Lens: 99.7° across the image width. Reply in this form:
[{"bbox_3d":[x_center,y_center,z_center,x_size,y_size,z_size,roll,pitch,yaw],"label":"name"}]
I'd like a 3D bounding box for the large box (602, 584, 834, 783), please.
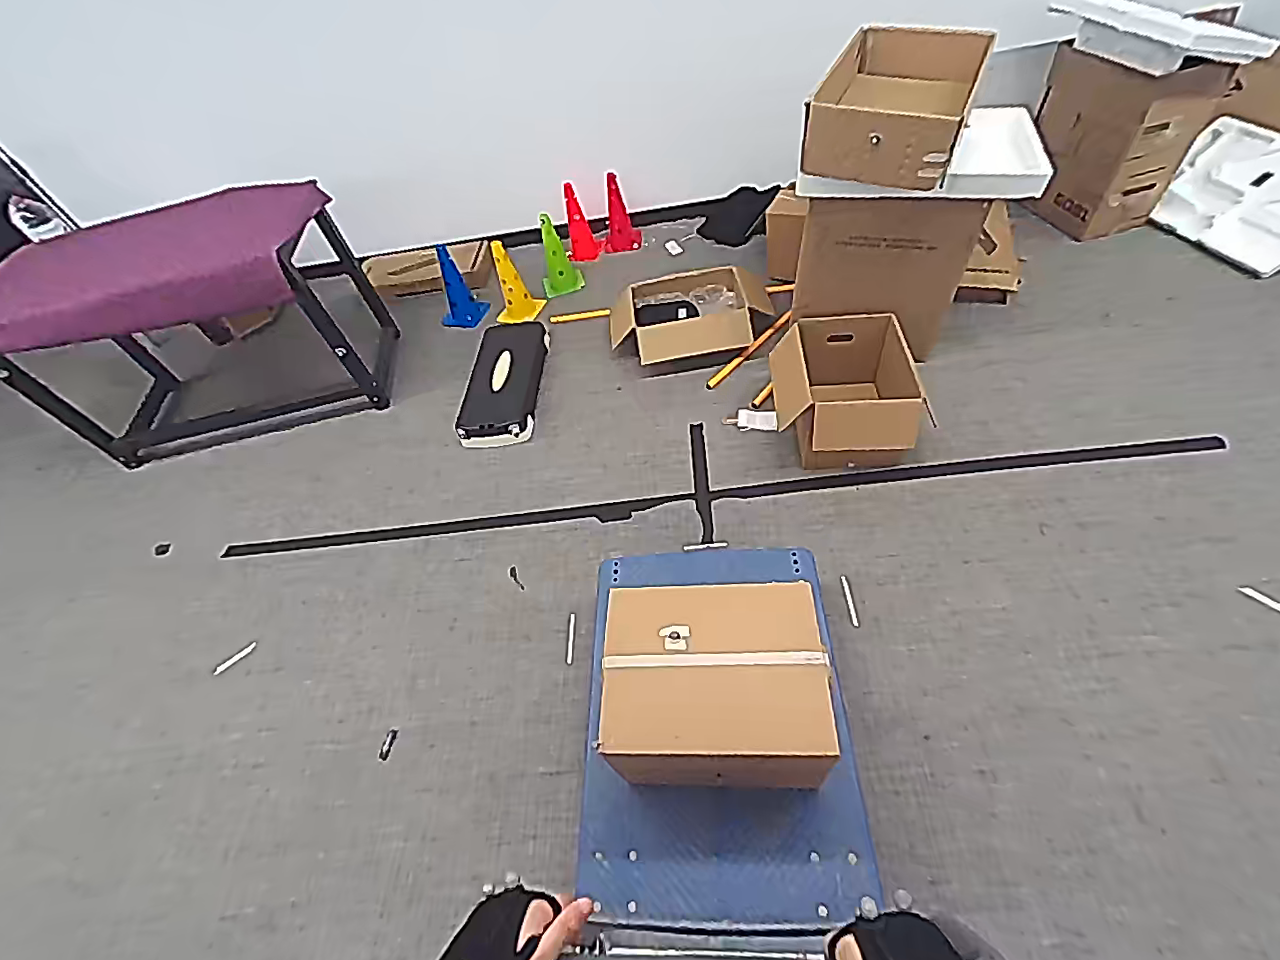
[{"bbox_3d":[0.156,0.437,1.130,0.408,0.320,0.320,-5,51,8],"label":"large box"}]
